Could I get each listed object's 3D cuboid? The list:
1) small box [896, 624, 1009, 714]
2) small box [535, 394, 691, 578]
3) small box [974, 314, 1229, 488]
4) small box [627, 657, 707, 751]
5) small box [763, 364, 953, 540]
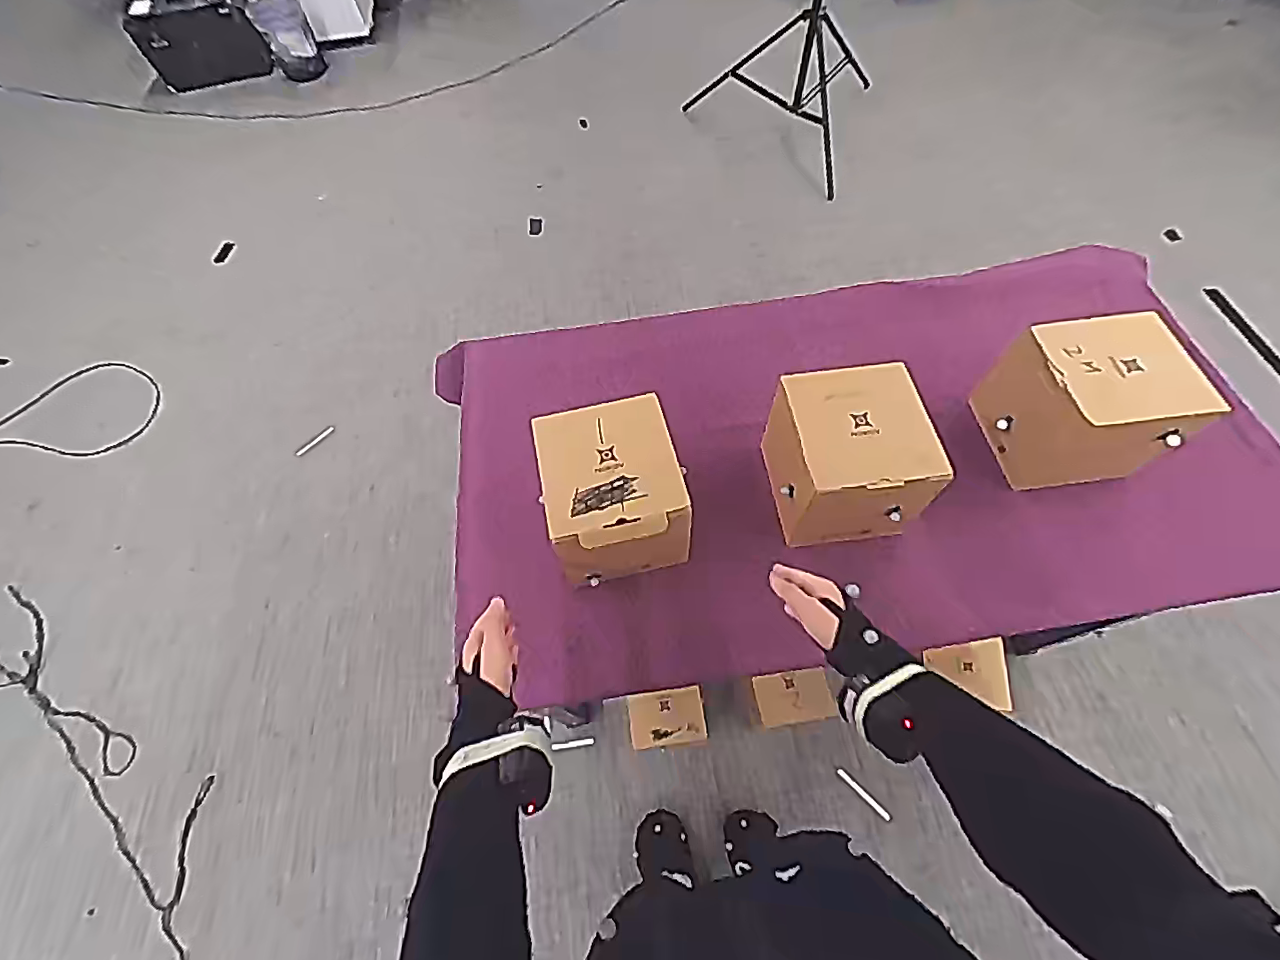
[{"bbox_3d":[0.729,0.452,1.280,0.179,0.176,0.168,6,63,7],"label":"small box"},{"bbox_3d":[-0.033,0.018,0.718,0.168,0.176,0.179,-12,60,-4],"label":"small box"},{"bbox_3d":[0.615,-0.103,0.752,0.179,0.176,0.168,-7,61,0],"label":"small box"},{"bbox_3d":[0.060,0.529,1.270,0.168,0.176,0.179,-6,60,-1],"label":"small box"},{"bbox_3d":[0.275,-0.028,0.731,0.168,0.176,0.179,-7,60,-2],"label":"small box"}]
